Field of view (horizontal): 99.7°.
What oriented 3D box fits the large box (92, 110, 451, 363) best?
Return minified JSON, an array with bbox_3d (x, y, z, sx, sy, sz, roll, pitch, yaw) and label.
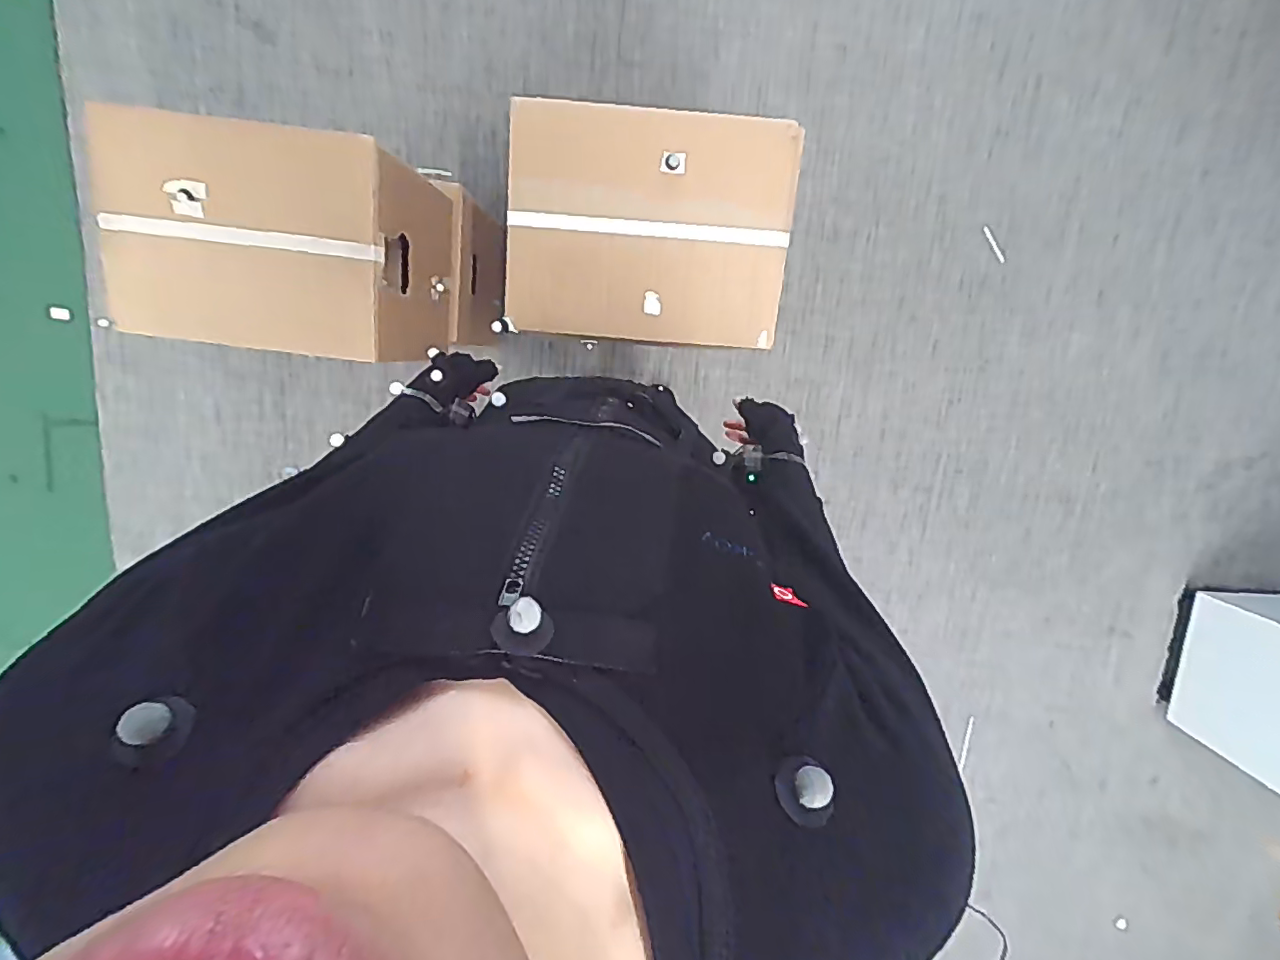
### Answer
[{"bbox_3d":[-0.573,-0.382,0.928,0.408,0.320,0.320,7,103,0],"label":"large box"}]
